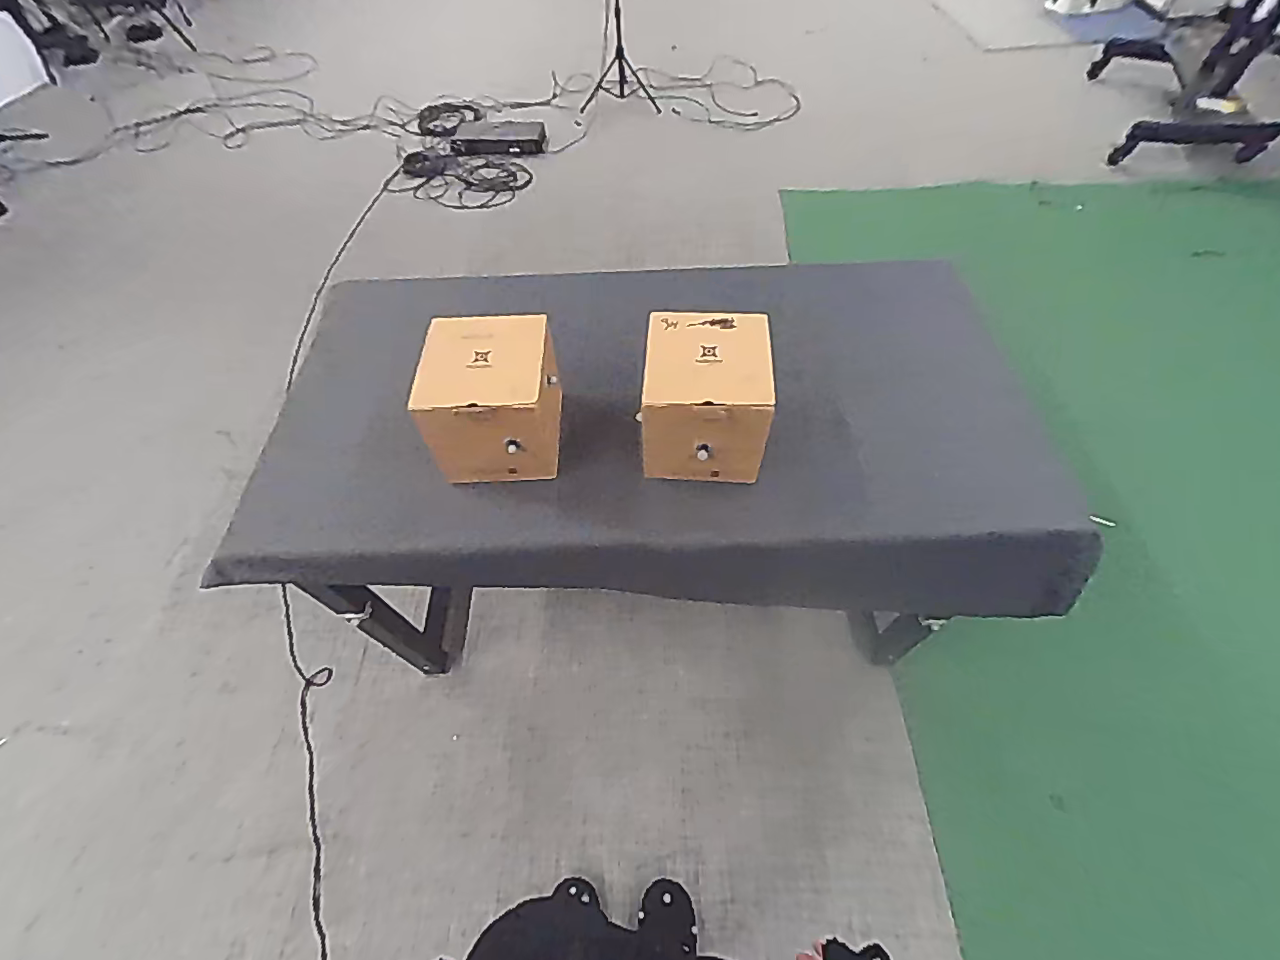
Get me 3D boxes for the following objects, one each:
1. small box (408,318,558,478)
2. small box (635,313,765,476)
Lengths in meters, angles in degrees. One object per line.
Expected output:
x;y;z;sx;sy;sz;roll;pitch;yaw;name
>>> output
-0.216;-0.113;0.797;0.168;0.176;0.179;-3;55;-1;small box
0.086;-0.119;0.784;0.168;0.176;0.179;2;58;4;small box
